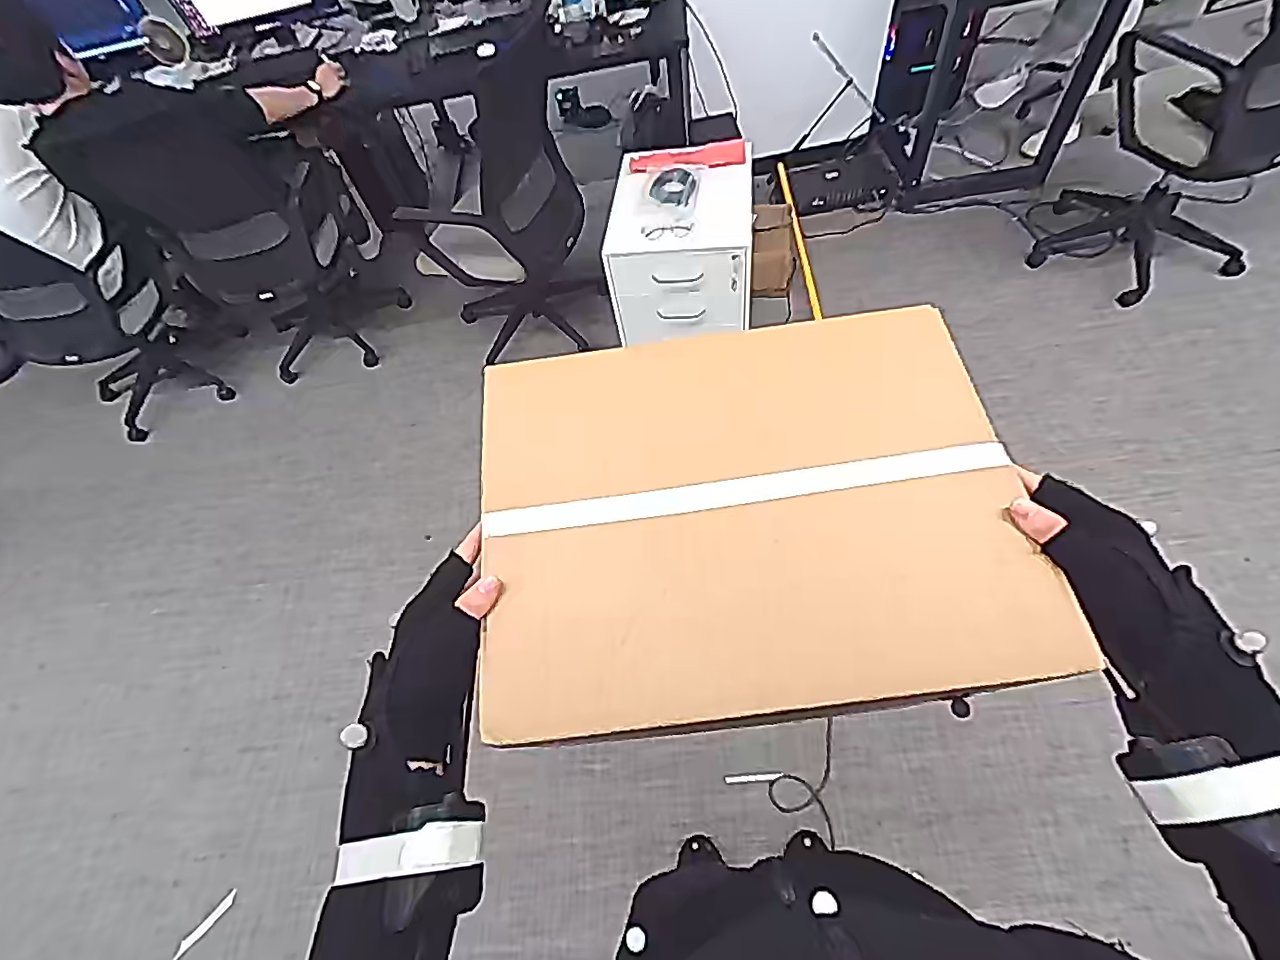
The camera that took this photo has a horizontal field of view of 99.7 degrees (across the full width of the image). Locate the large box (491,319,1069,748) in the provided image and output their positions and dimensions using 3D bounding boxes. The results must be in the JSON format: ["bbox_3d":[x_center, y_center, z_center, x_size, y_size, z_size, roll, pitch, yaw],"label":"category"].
[{"bbox_3d":[0.091,0.081,0.564,0.408,0.320,0.320,-8,63,2],"label":"large box"}]
